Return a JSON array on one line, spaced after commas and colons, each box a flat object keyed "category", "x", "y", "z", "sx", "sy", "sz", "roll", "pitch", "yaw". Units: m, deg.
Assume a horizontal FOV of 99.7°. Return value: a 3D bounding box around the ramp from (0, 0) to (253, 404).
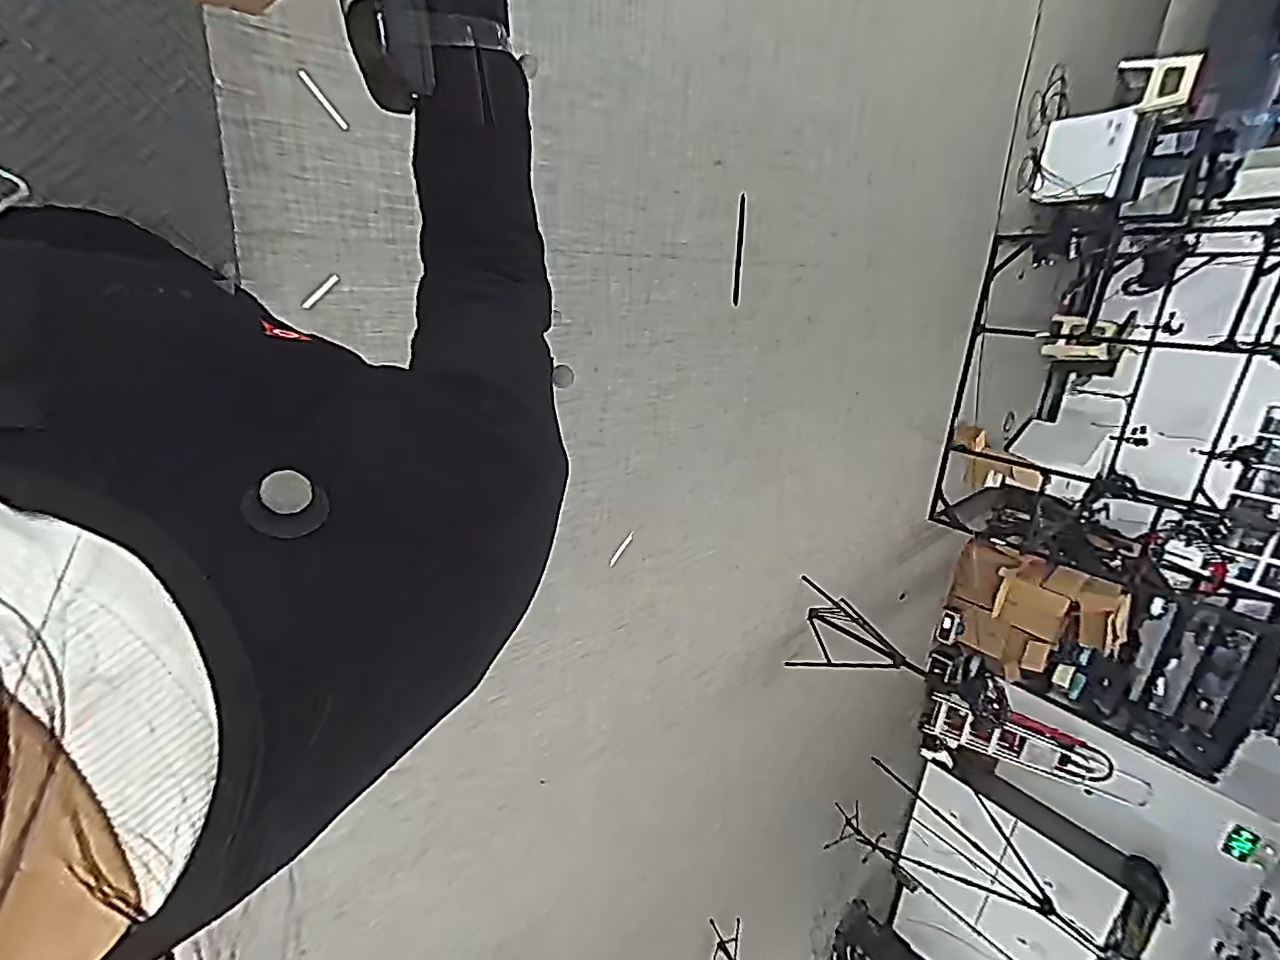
[{"category": "ramp", "x": -0.982, "y": -0.602, "z": 0.873, "sx": 0.509, "sy": 0.206, "sz": 0.991, "roll": -14, "pitch": 116, "yaw": -38}]
